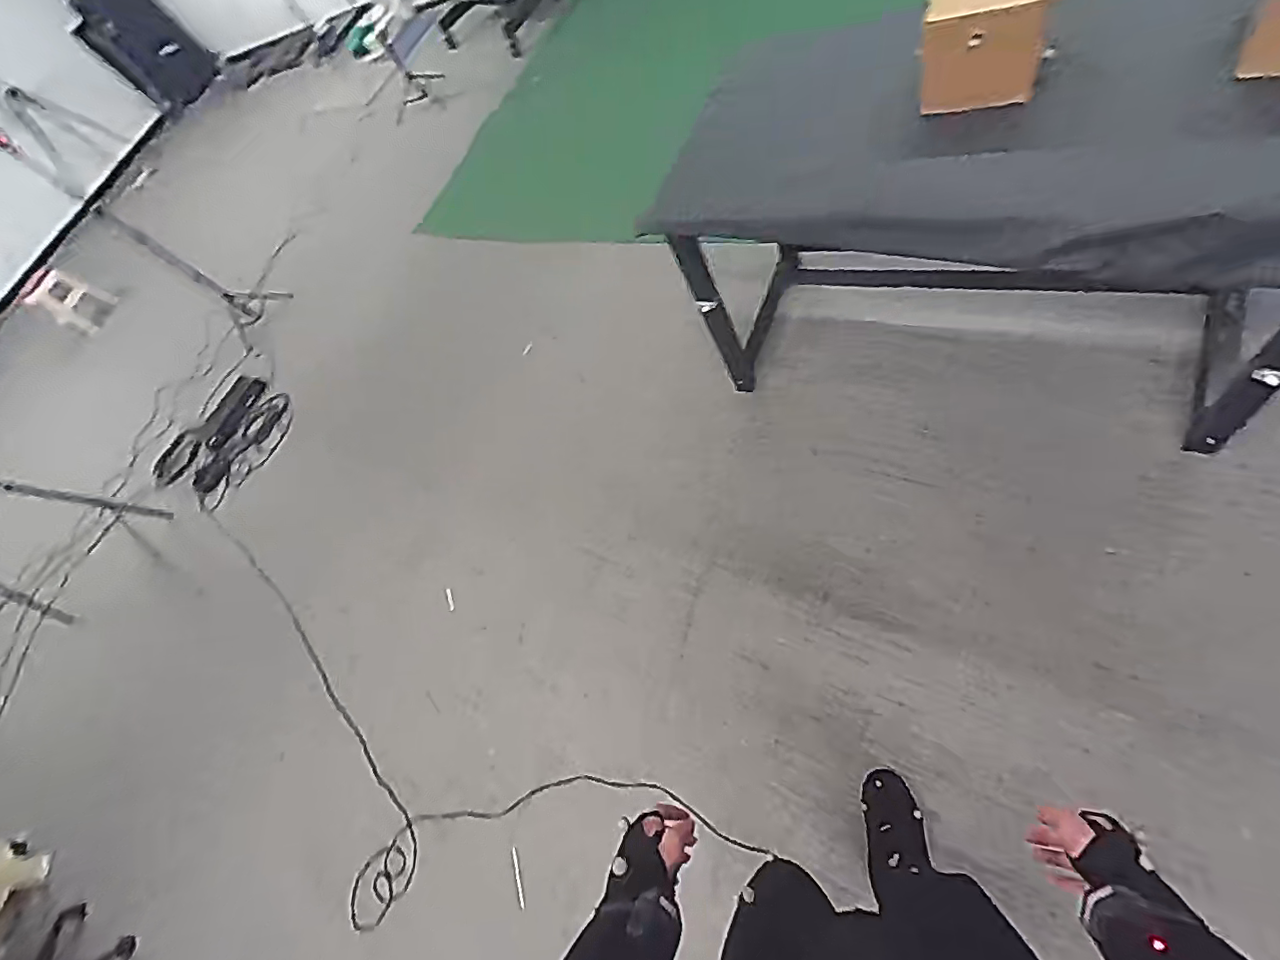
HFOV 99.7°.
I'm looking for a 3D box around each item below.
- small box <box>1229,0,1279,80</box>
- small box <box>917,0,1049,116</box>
[{"bbox_3d":[0.961,-0.679,0.728,0.179,0.176,0.168,21,77,33],"label":"small box"},{"bbox_3d":[0.604,-0.783,0.958,0.179,0.176,0.168,15,74,29],"label":"small box"}]
